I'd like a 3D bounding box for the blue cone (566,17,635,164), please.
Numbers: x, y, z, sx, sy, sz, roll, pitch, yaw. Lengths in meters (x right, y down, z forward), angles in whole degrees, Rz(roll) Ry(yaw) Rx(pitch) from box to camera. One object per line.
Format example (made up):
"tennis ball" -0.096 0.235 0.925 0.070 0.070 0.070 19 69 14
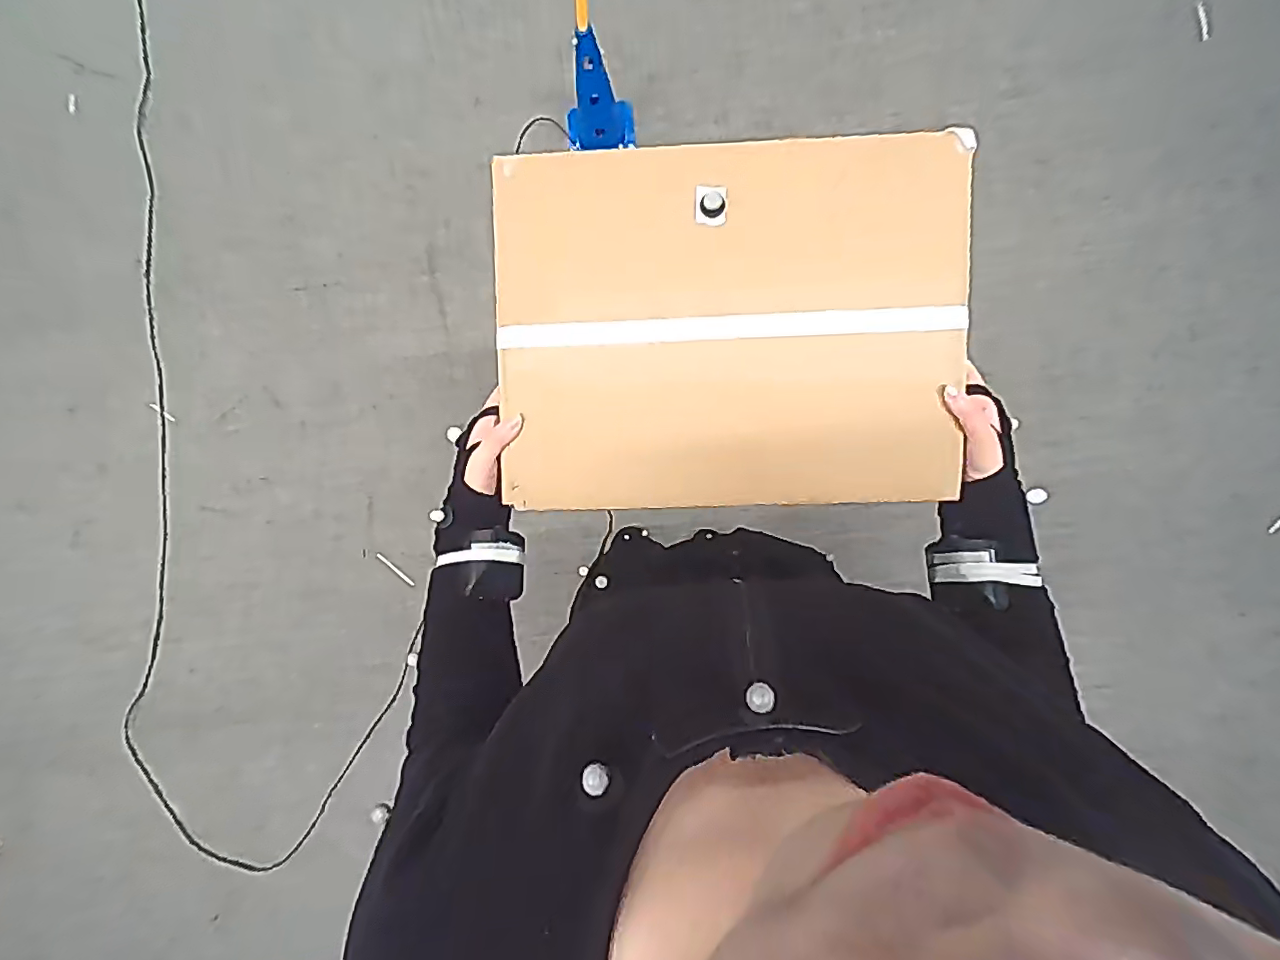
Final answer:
"blue cone" -0.125 -1.050 1.438 0.193 0.380 0.192 -9 85 1
